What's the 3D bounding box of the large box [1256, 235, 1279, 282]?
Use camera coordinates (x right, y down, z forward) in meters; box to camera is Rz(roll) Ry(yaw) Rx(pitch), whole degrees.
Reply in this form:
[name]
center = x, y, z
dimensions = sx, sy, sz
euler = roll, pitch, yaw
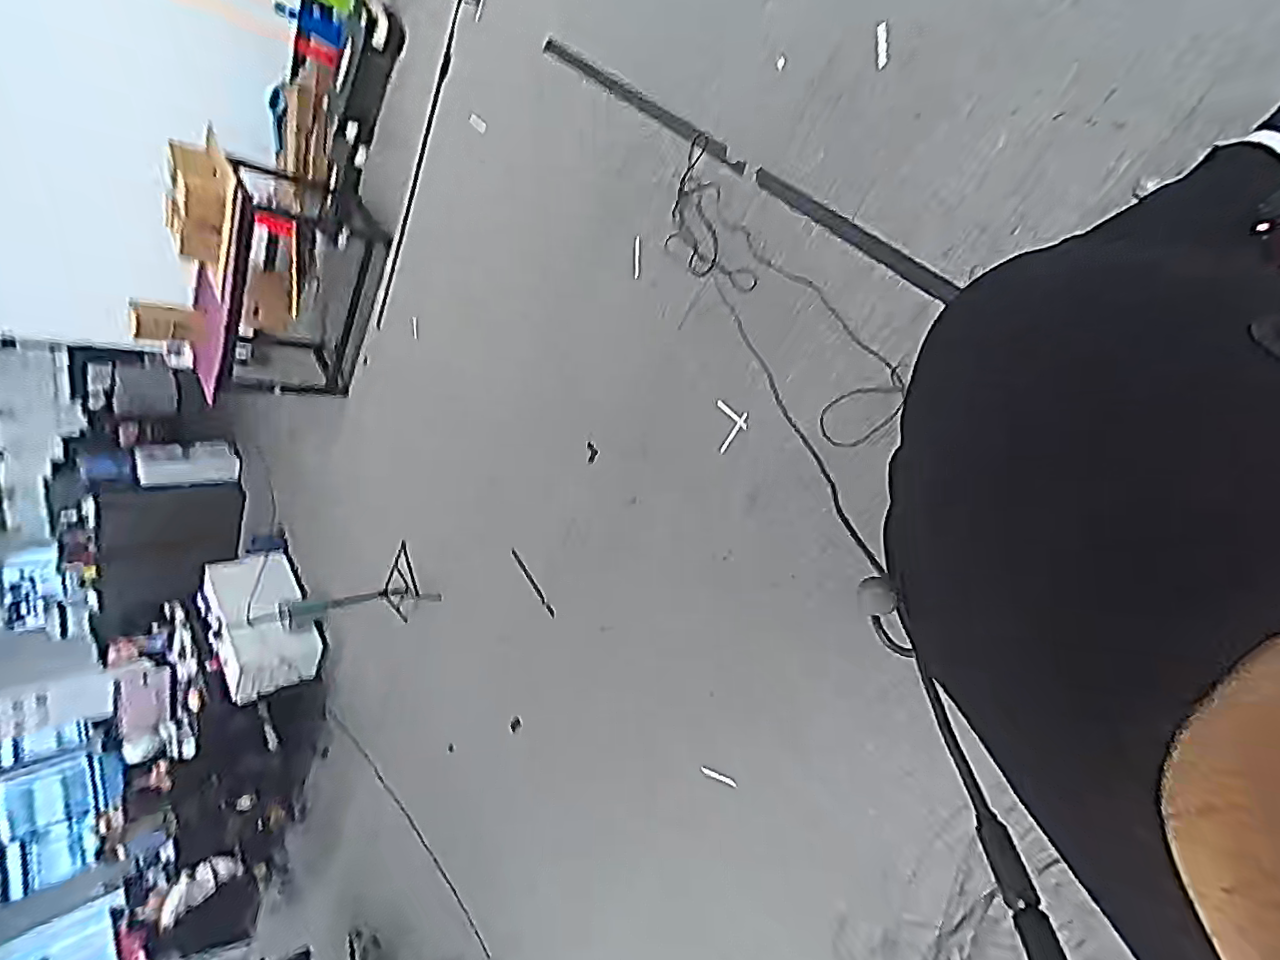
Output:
[large box]
center = 0.755, -0.160, 0.332
dimensions = 0.408, 0.320, 0.320
euler = 55, 132, 19
